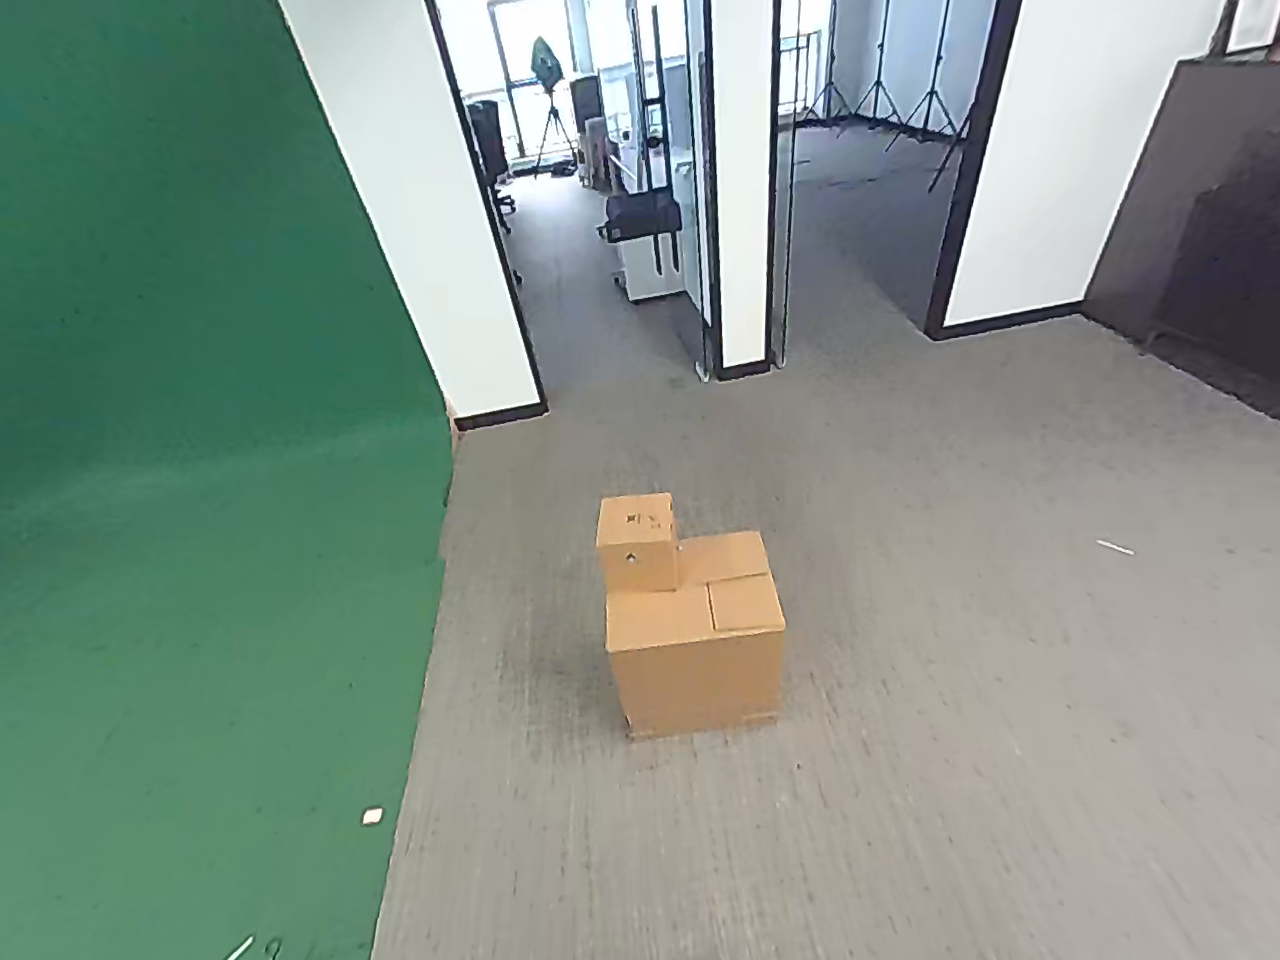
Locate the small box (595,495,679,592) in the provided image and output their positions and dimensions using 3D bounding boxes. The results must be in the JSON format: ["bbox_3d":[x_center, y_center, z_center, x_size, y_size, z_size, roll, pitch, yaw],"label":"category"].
[{"bbox_3d":[-0.001,0.158,1.318,0.179,0.176,0.168,-4,39,6],"label":"small box"}]
